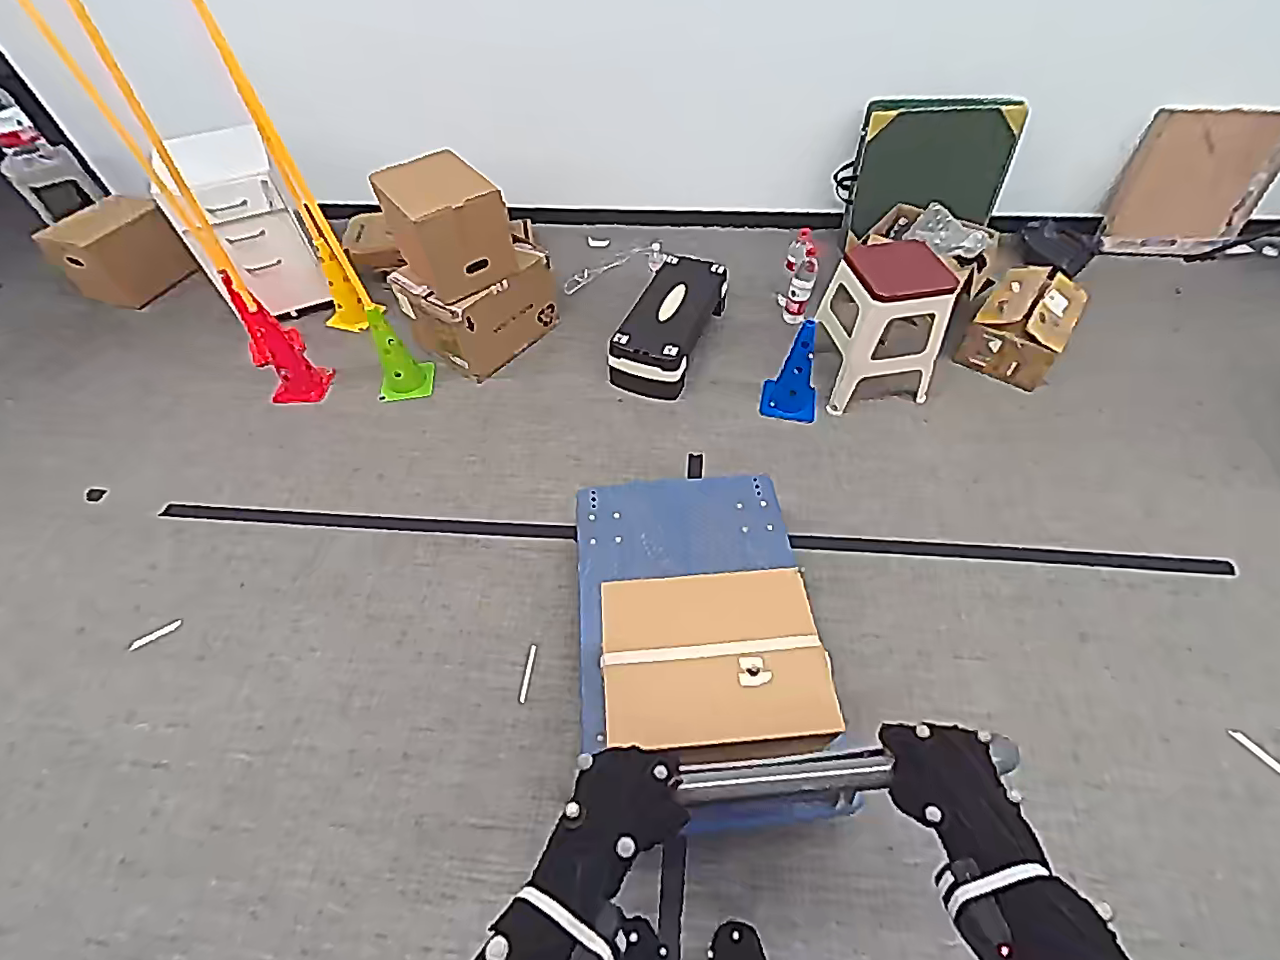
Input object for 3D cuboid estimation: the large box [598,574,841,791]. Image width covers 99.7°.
[{"bbox_3d":[0.129,0.418,1.105,0.408,0.320,0.320,-4,53,-3],"label":"large box"}]
